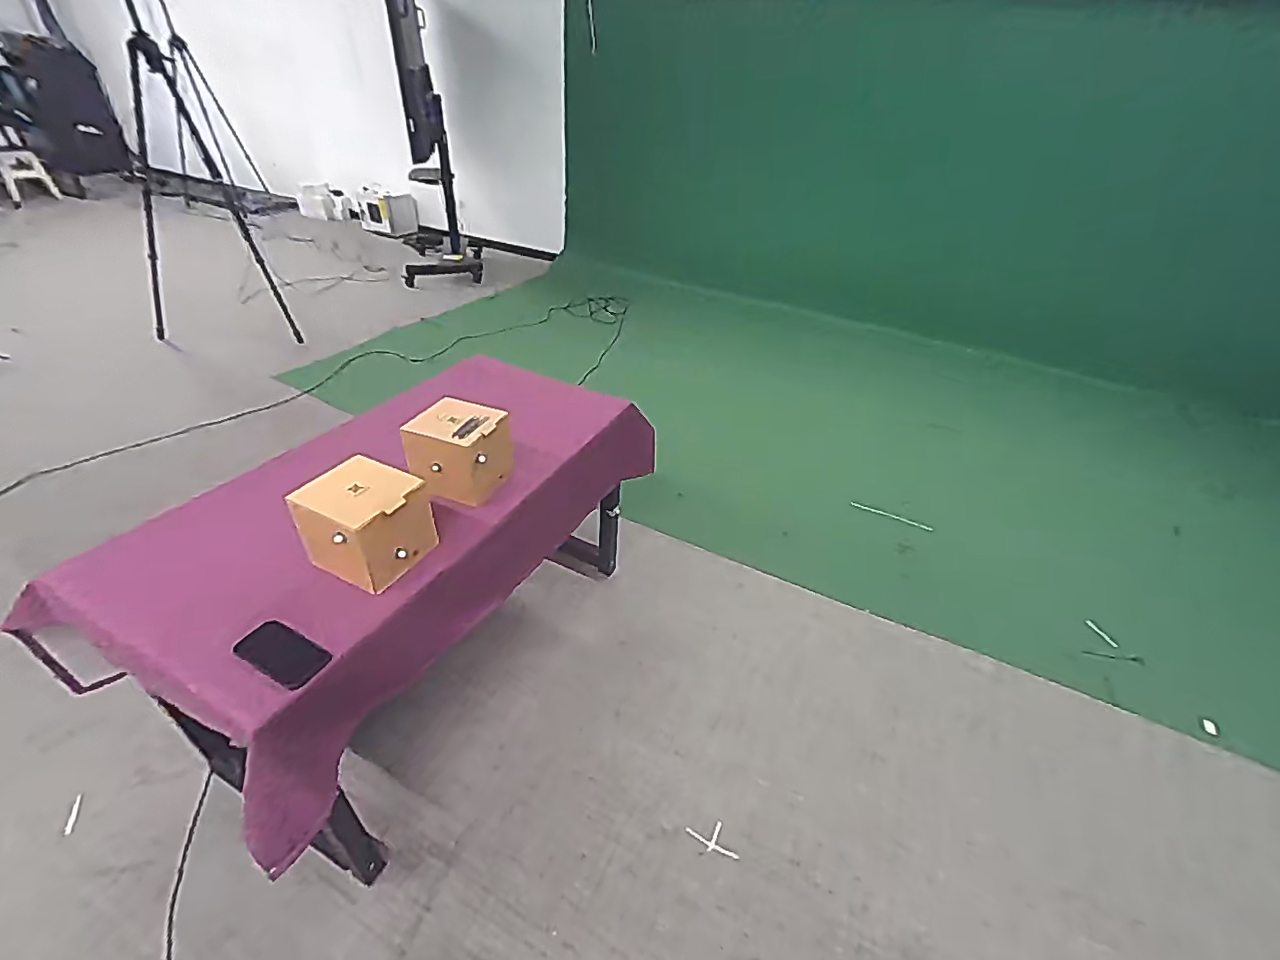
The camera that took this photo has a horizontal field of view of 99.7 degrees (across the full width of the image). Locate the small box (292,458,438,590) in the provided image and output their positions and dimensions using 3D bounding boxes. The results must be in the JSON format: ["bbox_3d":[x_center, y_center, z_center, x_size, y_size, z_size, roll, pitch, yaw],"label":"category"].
[{"bbox_3d":[-0.525,0.086,1.054,0.179,0.176,0.168,19,39,18],"label":"small box"}]
